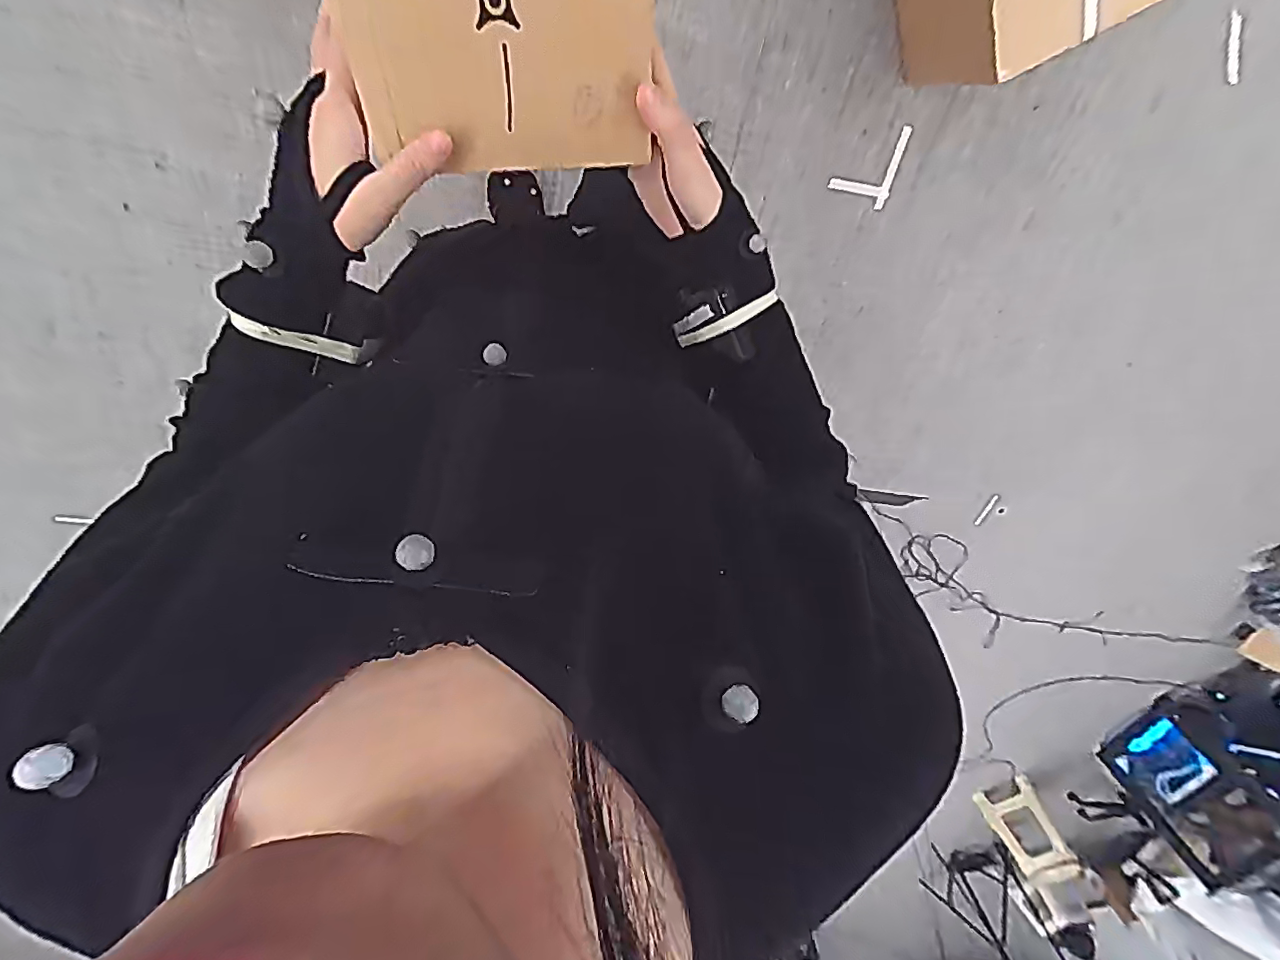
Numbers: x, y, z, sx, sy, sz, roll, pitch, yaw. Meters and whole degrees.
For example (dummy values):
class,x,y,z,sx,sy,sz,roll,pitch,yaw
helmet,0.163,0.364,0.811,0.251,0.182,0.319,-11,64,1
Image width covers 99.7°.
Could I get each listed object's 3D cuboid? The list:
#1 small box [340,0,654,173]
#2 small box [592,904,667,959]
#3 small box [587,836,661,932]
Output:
class,x,y,z,sx,sy,sz,roll,pitch,yaw
small box,-0.086,-0.310,0.339,0.168,0.176,0.179,-6,131,-6
small box,-0.030,1.184,1.346,0.168,0.176,0.179,2,125,-10
small box,-0.052,1.108,1.491,0.168,0.176,0.179,6,125,-13
